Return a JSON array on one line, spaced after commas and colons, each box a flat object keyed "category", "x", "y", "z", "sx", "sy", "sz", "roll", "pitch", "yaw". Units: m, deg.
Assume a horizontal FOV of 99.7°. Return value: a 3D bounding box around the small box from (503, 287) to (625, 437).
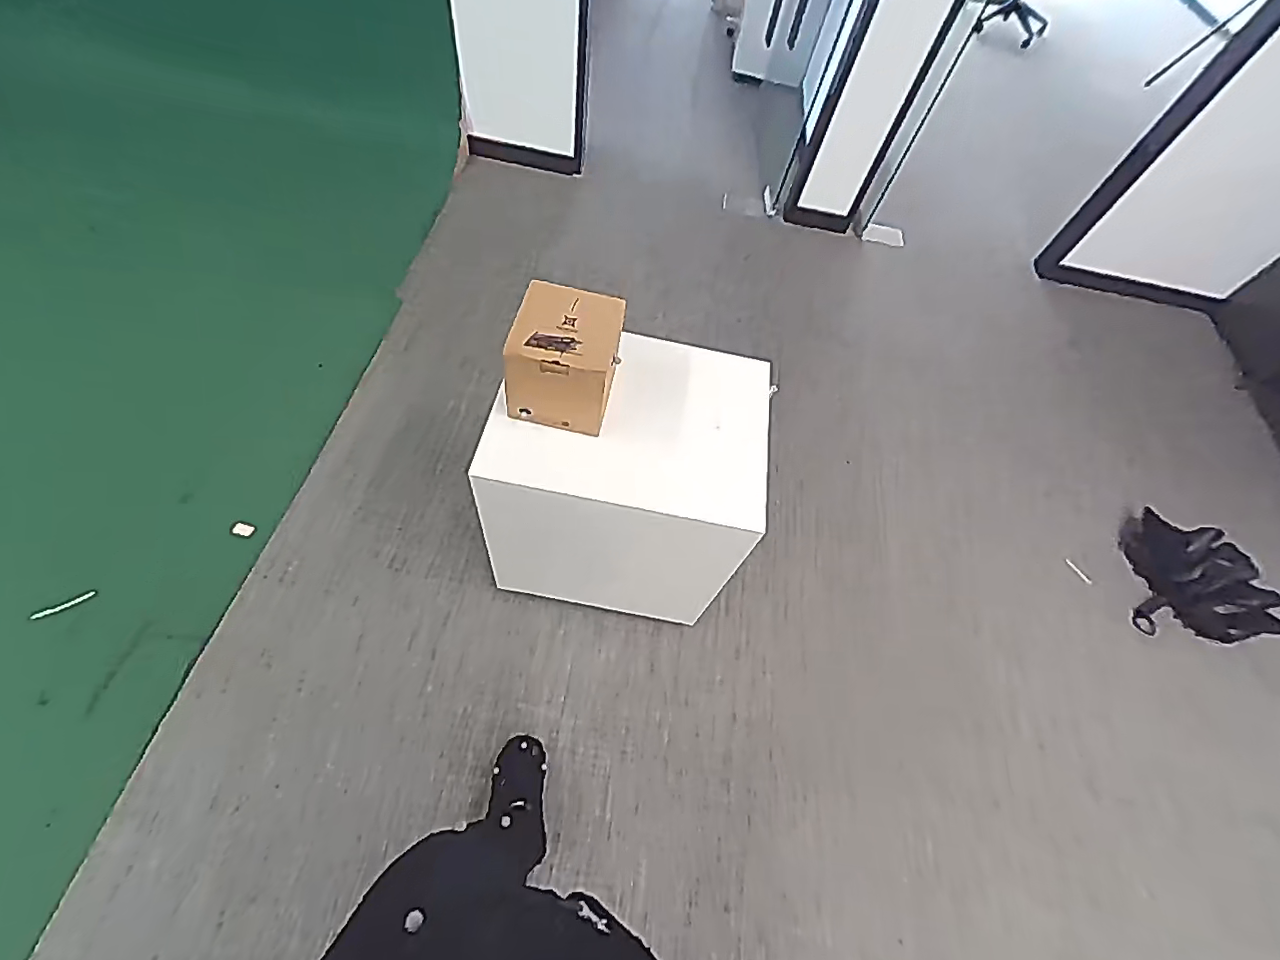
[{"category": "small box", "x": -0.128, "y": -0.199, "z": 0.943, "sx": 0.168, "sy": 0.176, "sz": 0.179, "roll": 12, "pitch": 58, "yaw": -2}]
